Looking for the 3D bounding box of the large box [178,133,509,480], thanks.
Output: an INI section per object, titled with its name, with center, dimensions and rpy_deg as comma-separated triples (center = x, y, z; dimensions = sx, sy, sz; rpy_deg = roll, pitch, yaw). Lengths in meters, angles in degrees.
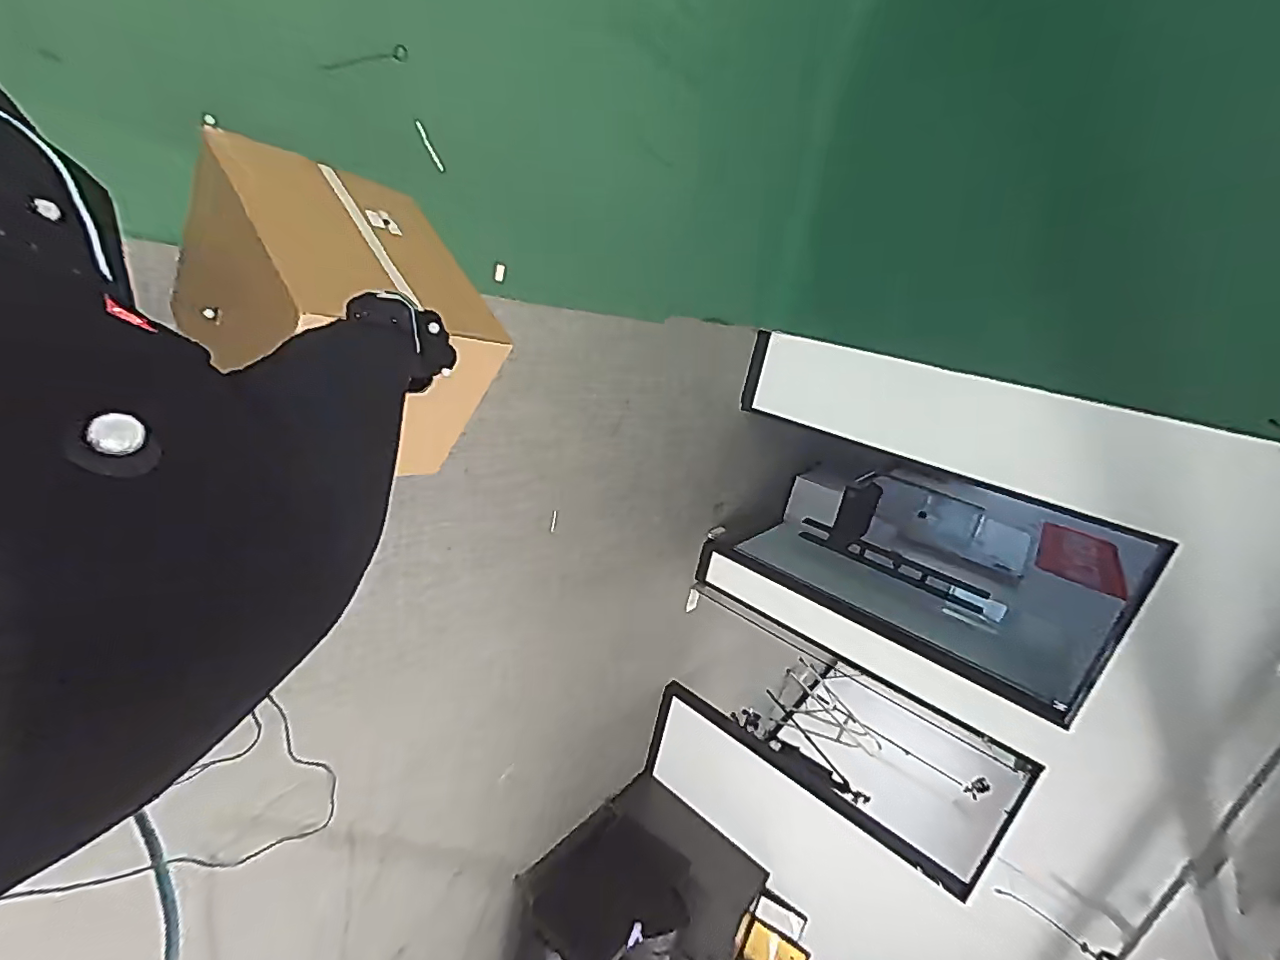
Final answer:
[large box]
center = -0.493, -0.255, 0.885
dimensions = 0.320, 0.408, 0.320
rpy_deg = -6, 144, -54
